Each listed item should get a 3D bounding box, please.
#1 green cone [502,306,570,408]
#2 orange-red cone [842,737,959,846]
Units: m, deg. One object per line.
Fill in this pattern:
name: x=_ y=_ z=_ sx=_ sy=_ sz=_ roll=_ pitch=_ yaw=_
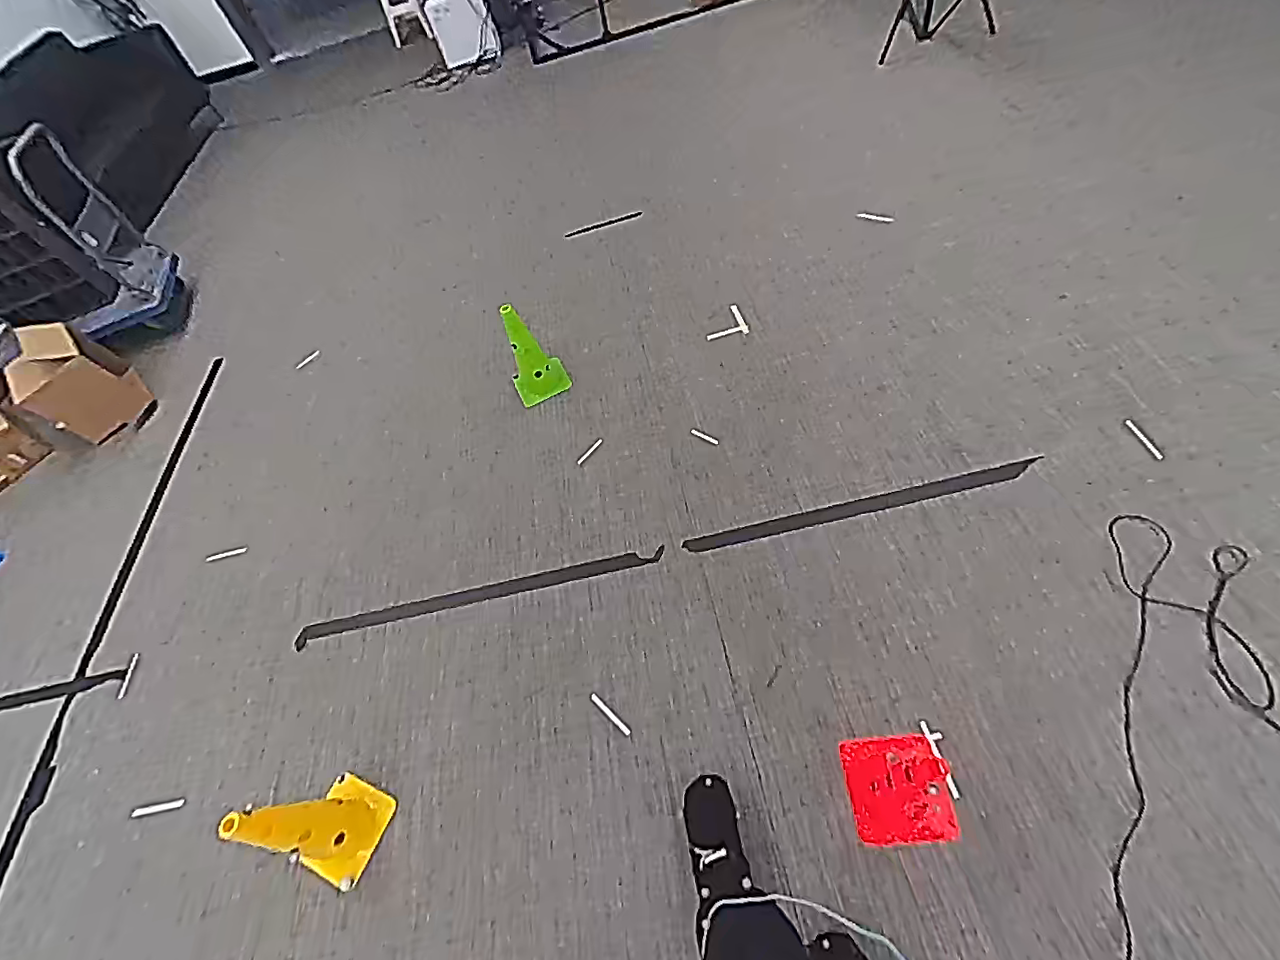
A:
green cone: x=-0.419 y=-0.471 z=1.972 sx=0.202 sy=0.368 sz=0.200 roll=-27 pitch=54 yaw=-6
orange-red cone: x=0.513 y=0.563 z=1.017 sx=0.199 sy=0.360 sz=0.198 roll=-9 pitch=54 yaw=9
